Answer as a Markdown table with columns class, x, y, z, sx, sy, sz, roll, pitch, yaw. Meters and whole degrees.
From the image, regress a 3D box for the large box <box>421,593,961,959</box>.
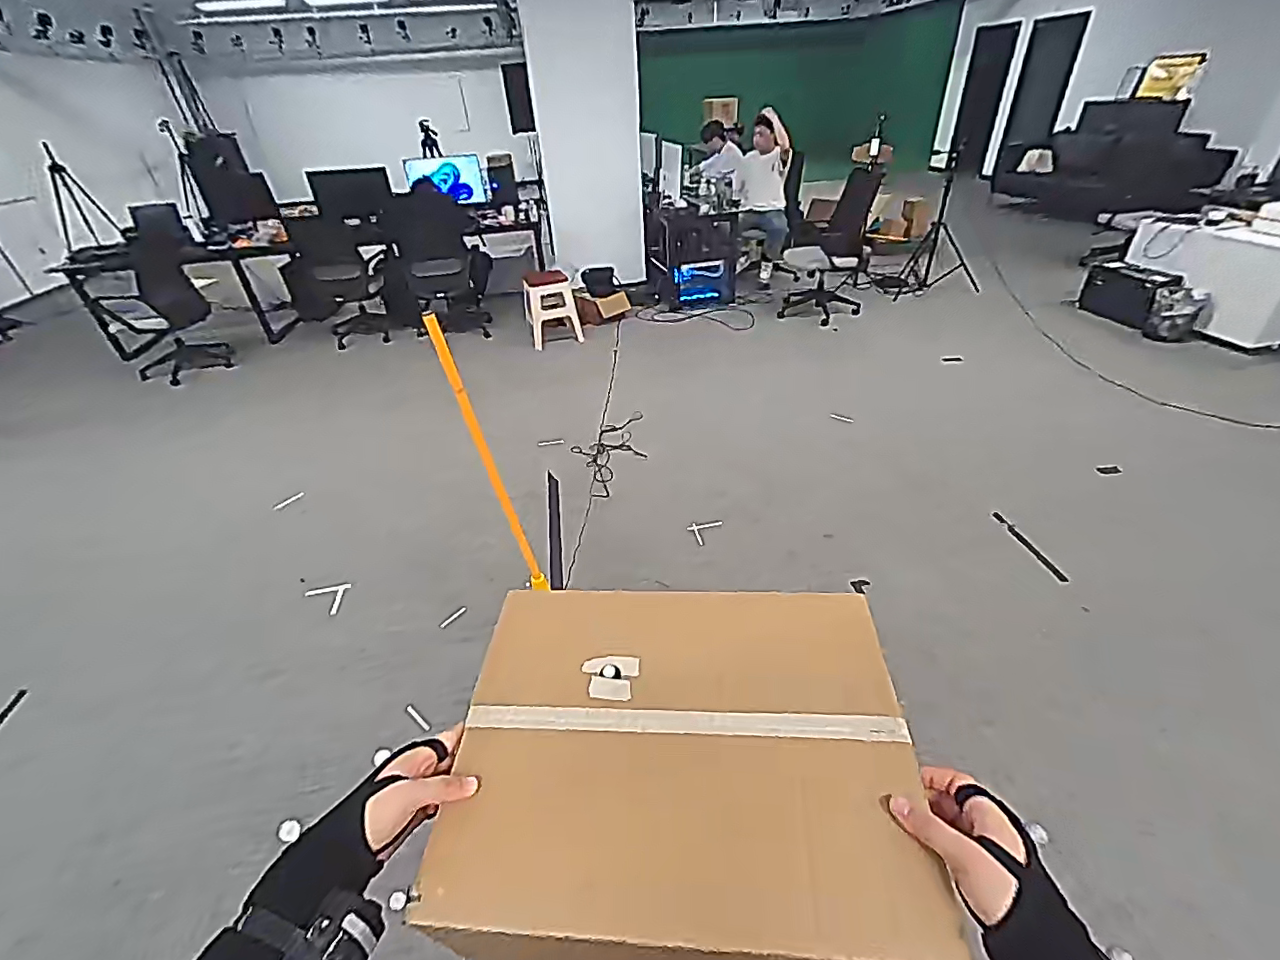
| class | x | y | z | sx | sy | sz | roll | pitch | yaw |
| --- | --- | --- | --- | --- | --- | --- | --- | --- | --- |
| large box | 0.054 | 0.349 | 0.600 | 0.408 | 0.320 | 0.320 | -3 | 38 | 7 |
